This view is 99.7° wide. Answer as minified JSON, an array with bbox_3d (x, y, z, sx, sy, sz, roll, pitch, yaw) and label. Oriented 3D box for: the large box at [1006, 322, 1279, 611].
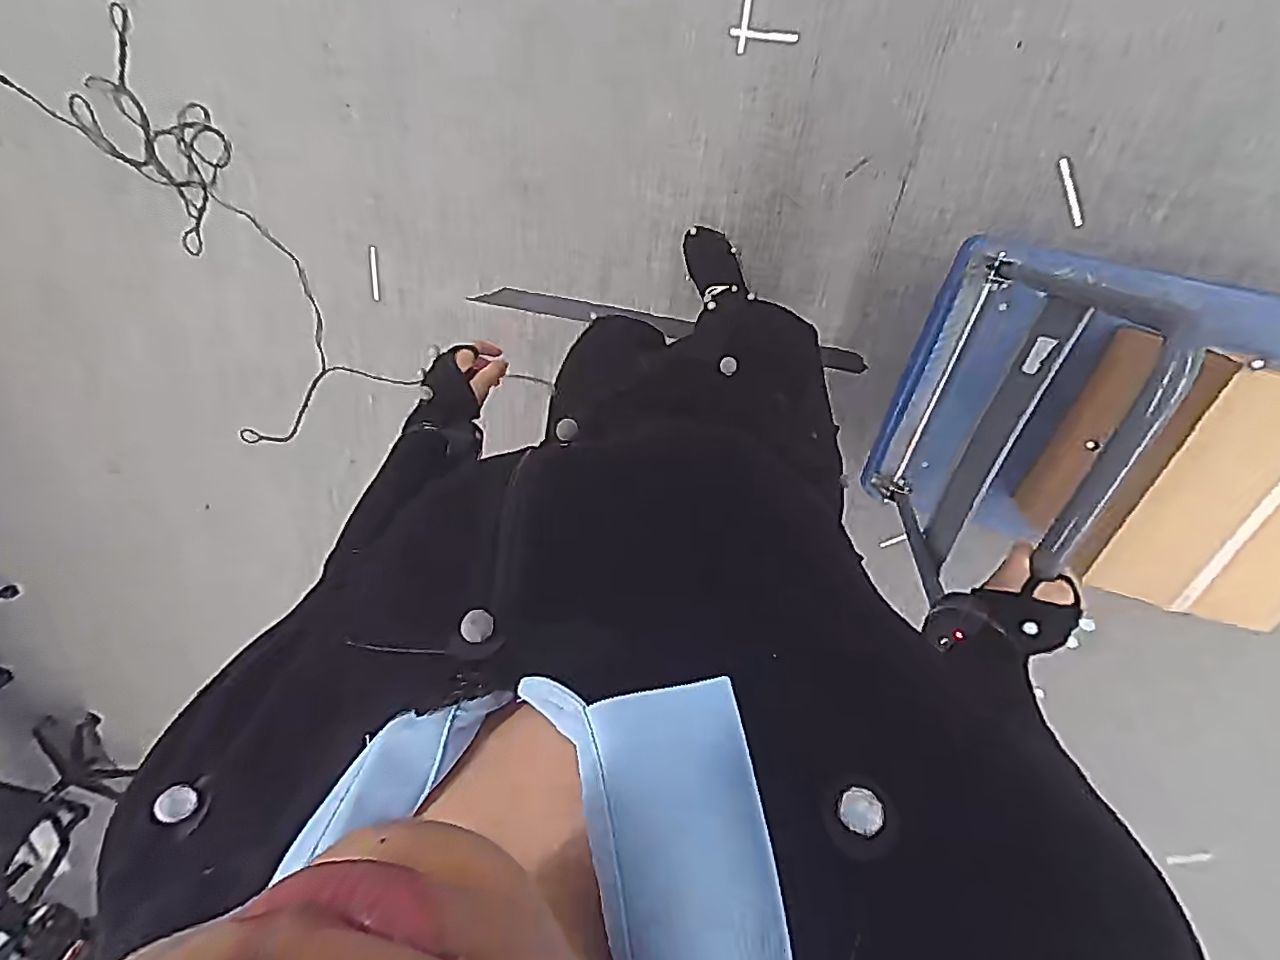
[{"bbox_3d":[0.983,-0.040,1.006,0.320,0.320,0.408,15,117,5],"label":"large box"}]
